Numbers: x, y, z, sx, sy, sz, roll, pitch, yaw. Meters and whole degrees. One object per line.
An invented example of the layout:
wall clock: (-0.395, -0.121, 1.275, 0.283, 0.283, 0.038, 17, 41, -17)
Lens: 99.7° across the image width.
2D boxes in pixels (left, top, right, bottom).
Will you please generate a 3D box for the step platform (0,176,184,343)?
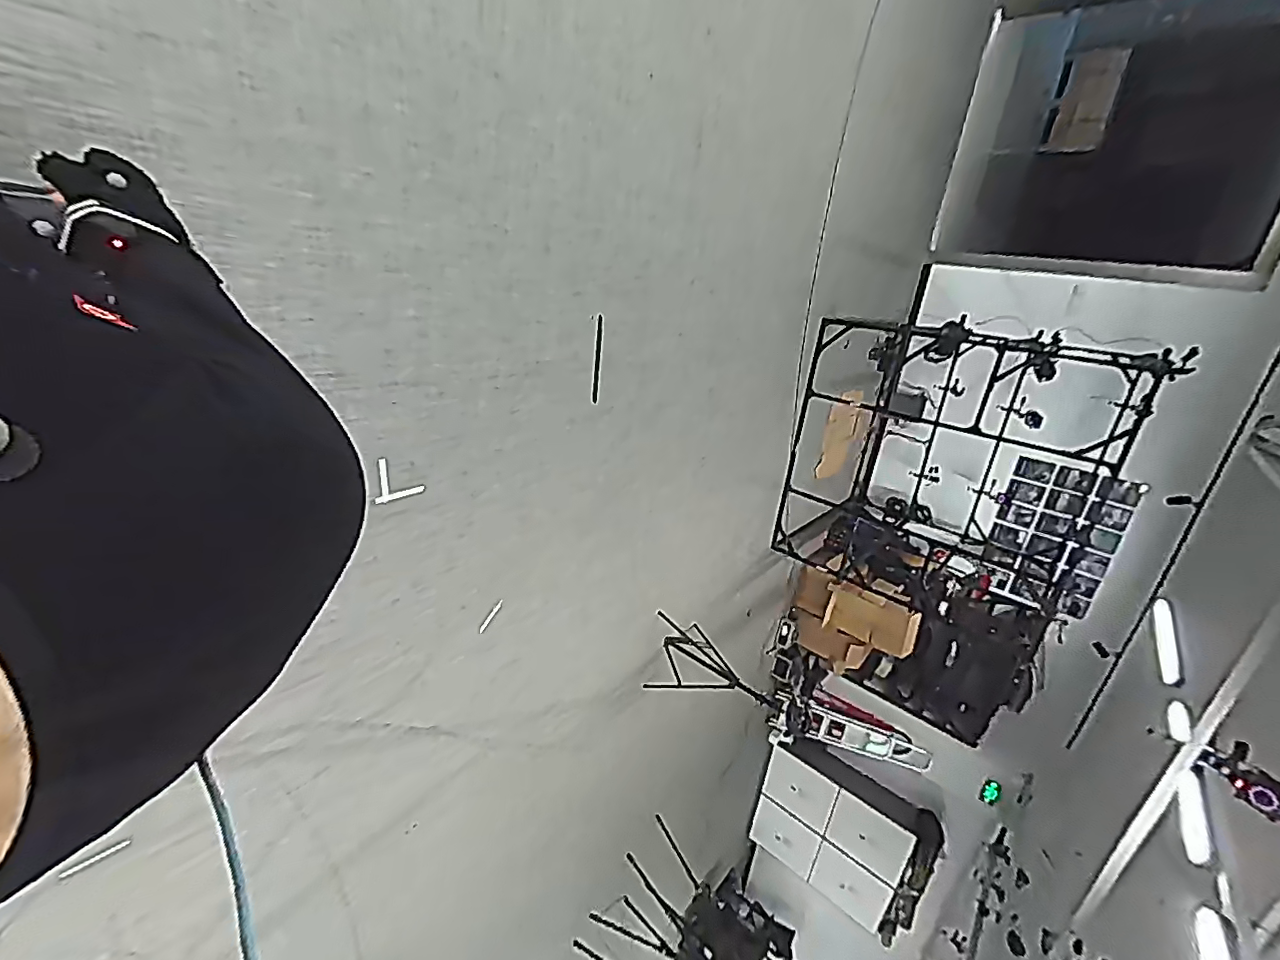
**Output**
step platform: (-1.240, -0.390, 0.936, 0.684, 0.204, 0.286, -21, 124, -48)
